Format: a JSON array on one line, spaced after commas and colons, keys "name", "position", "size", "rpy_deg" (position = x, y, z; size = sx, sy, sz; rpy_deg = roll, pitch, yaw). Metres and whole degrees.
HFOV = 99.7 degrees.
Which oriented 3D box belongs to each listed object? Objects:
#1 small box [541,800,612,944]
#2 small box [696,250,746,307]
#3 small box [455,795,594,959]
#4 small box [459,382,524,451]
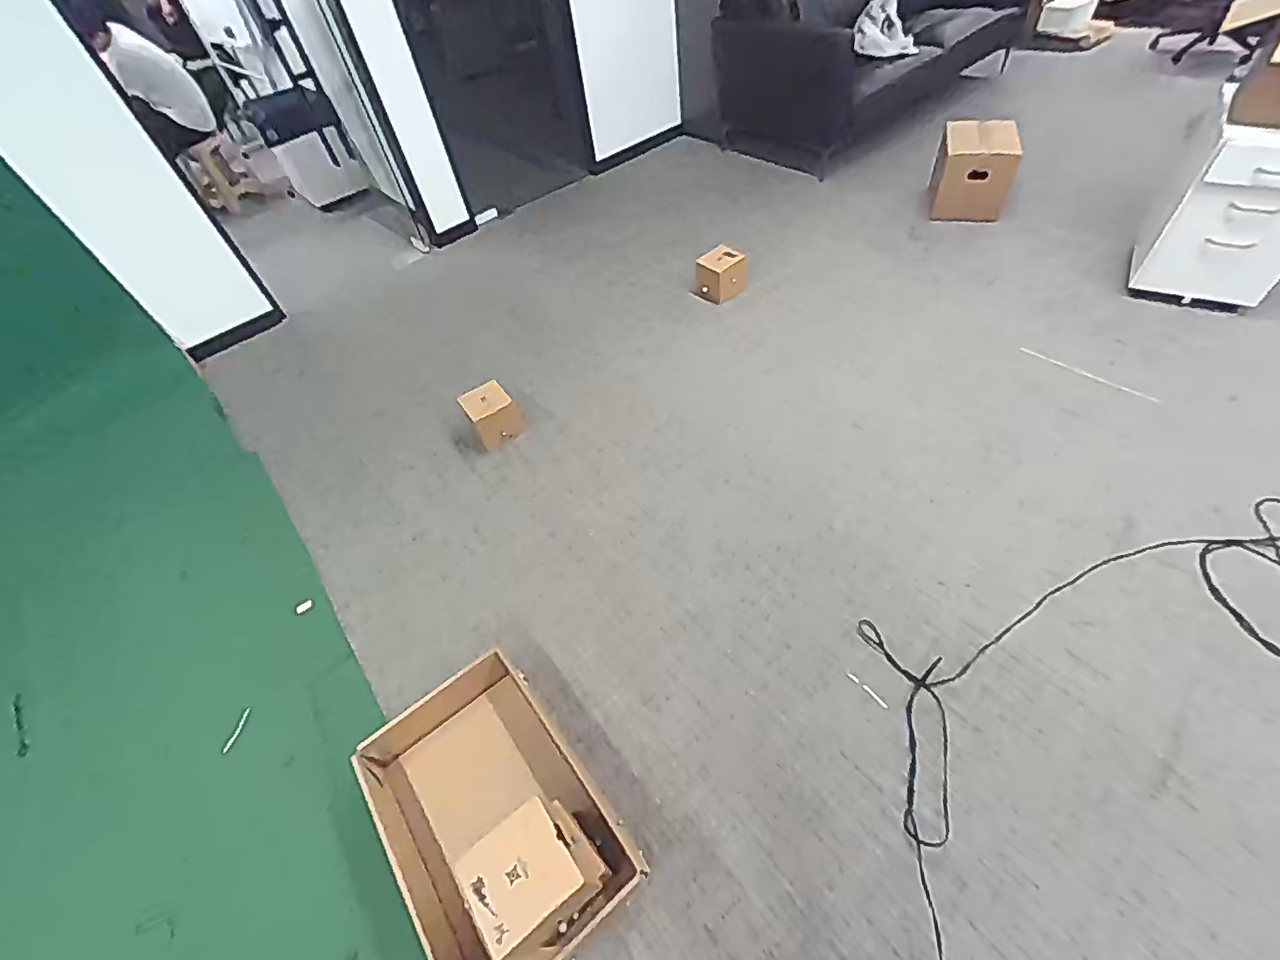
[{"name": "small box", "position": [-0.175, 0.803, 1.104], "size": [0.179, 0.176, 0.168], "rpy_deg": [-37, 55, -22]}, {"name": "small box", "position": [0.380, -0.951, 2.554], "size": [0.179, 0.176, 0.168], "rpy_deg": [-36, 54, -19]}, {"name": "small box", "position": [-0.196, 0.710, 0.969], "size": [0.179, 0.176, 0.168], "rpy_deg": [-32, 53, -19]}, {"name": "small box", "position": [-0.575, -0.244, 2.103], "size": [0.168, 0.176, 0.179], "rpy_deg": [-32, 53, -17]}]
